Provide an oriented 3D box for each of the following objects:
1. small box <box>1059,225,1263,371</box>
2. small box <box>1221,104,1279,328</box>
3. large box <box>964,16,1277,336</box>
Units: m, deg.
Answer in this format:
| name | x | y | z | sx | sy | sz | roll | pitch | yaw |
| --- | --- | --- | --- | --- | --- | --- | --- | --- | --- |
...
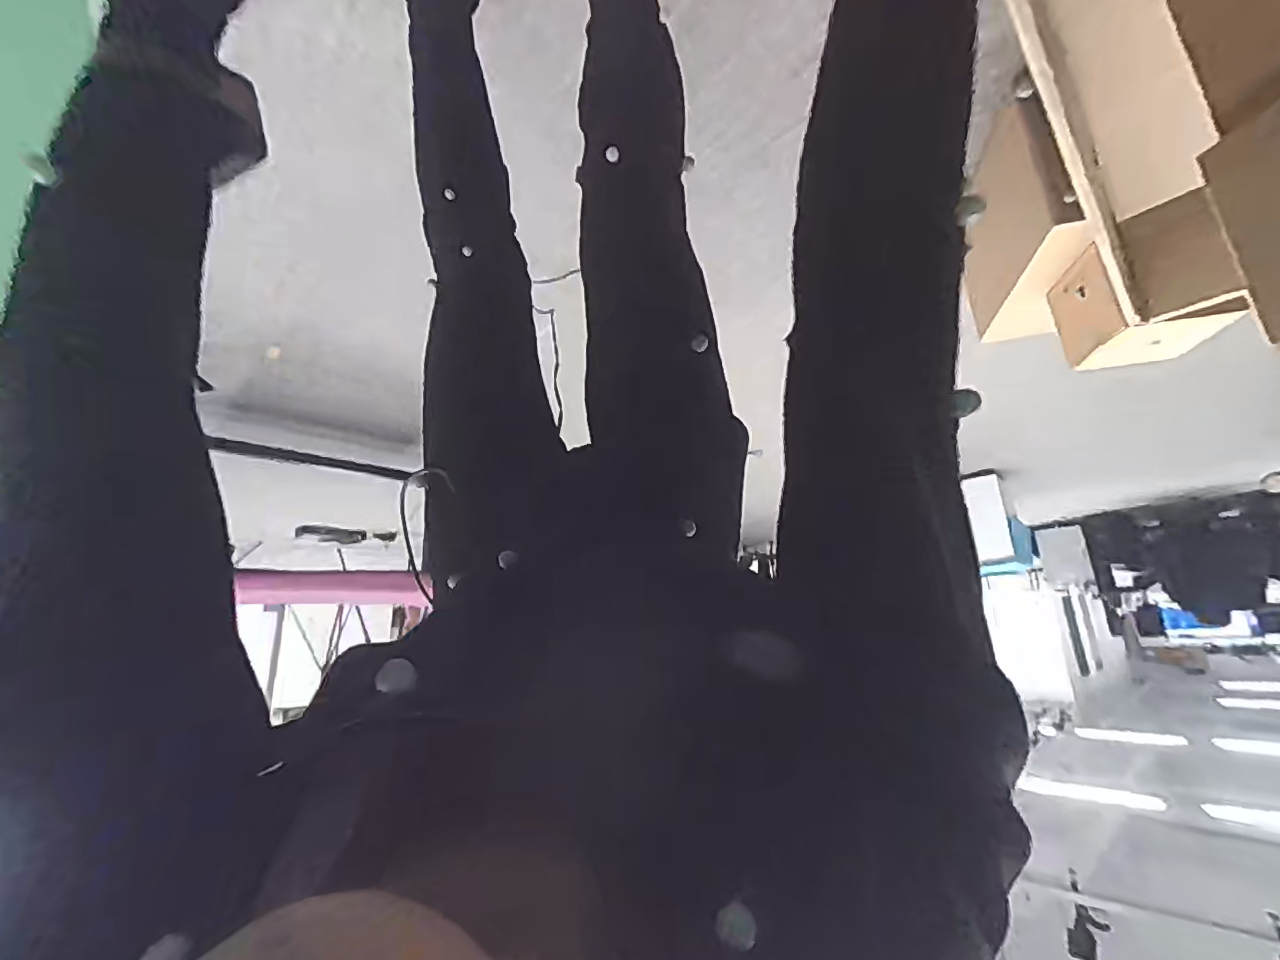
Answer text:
| name | x | y | z | sx | sy | sz | roll | pitch | yaw |
| --- | --- | --- | --- | --- | --- | --- | --- | --- | --- |
| small box | 0.875 | -0.309 | 0.930 | 0.179 | 0.176 | 0.168 | -6 | 164 | 11 |
| small box | 0.526 | -0.182 | 0.324 | 0.179 | 0.176 | 0.168 | 3 | 163 | -14 |
| large box | 0.869 | -0.532 | 1.037 | 0.320 | 0.320 | 0.408 | -6 | 165 | 15 |
